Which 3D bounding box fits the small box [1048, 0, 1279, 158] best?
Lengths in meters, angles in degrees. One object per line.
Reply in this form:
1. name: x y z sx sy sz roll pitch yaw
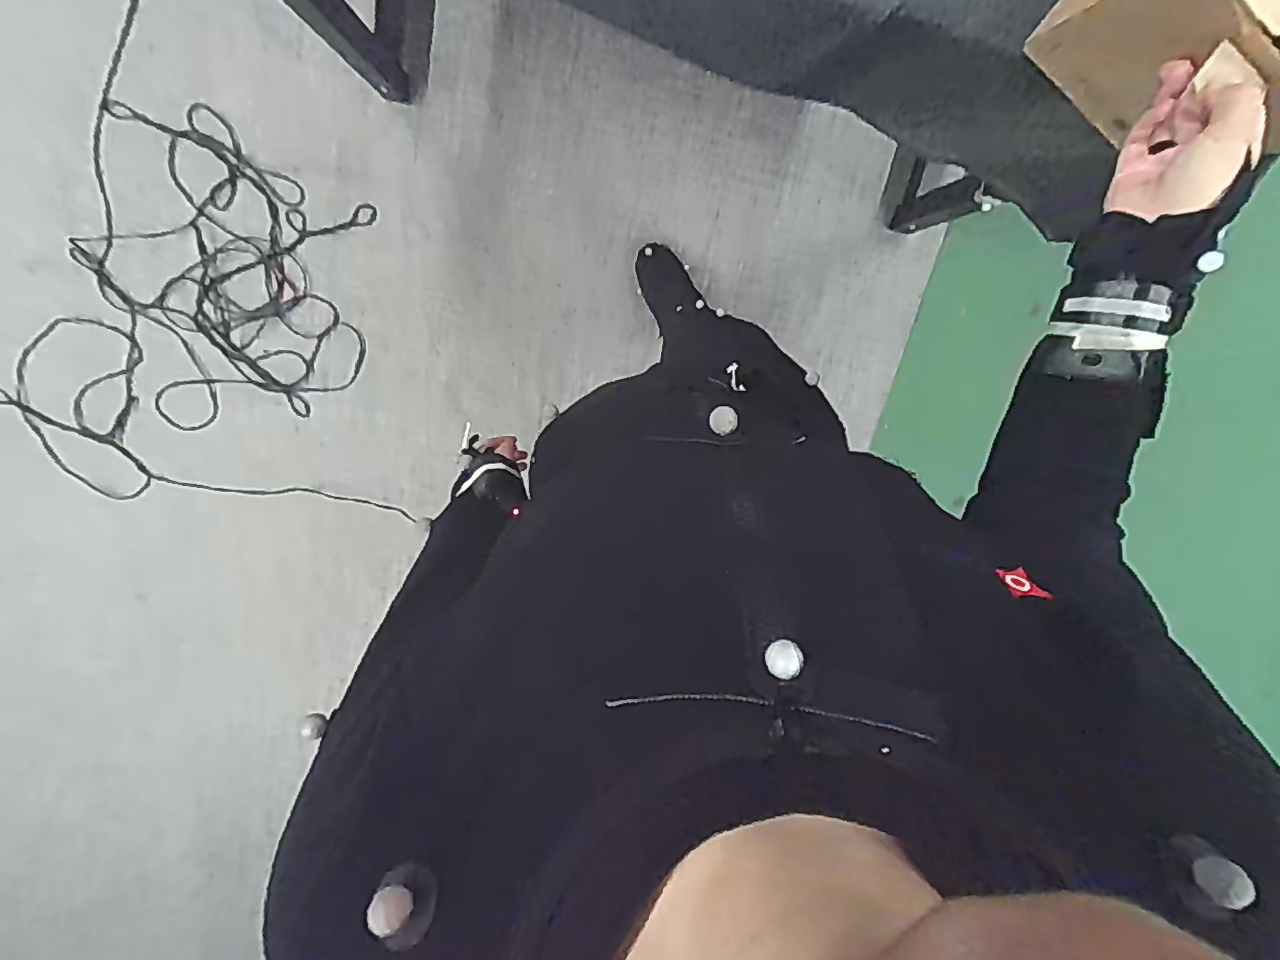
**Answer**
1. small box: 0.436 -0.361 0.374 0.168 0.176 0.179 34 109 -12
